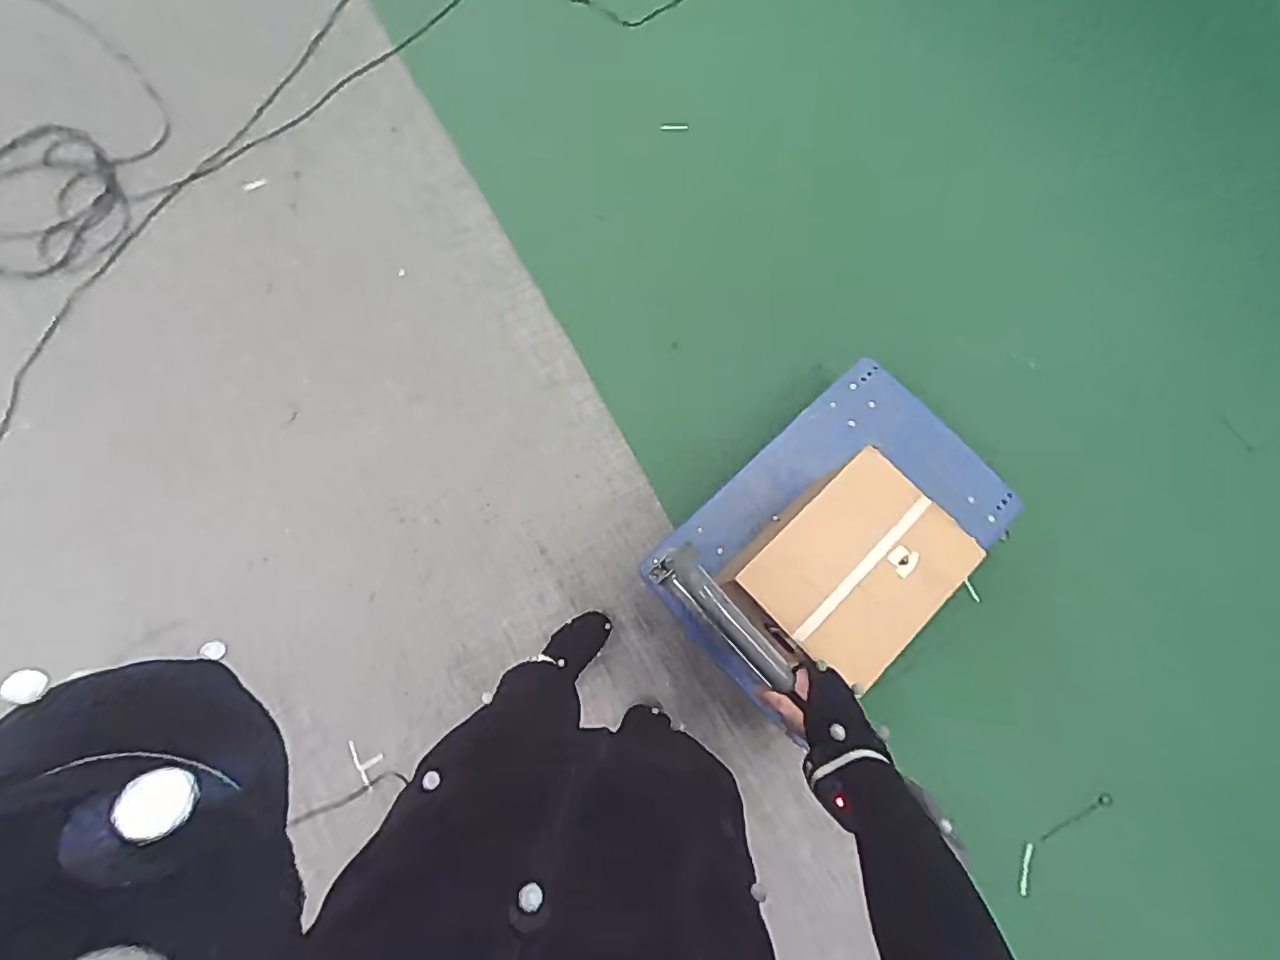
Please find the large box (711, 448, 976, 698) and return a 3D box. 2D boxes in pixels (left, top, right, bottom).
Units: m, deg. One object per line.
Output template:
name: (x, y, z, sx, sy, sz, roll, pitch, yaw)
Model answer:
large box: (0.420, 0.208, 1.203, 0.408, 0.320, 0.320, -42, 82, -12)
